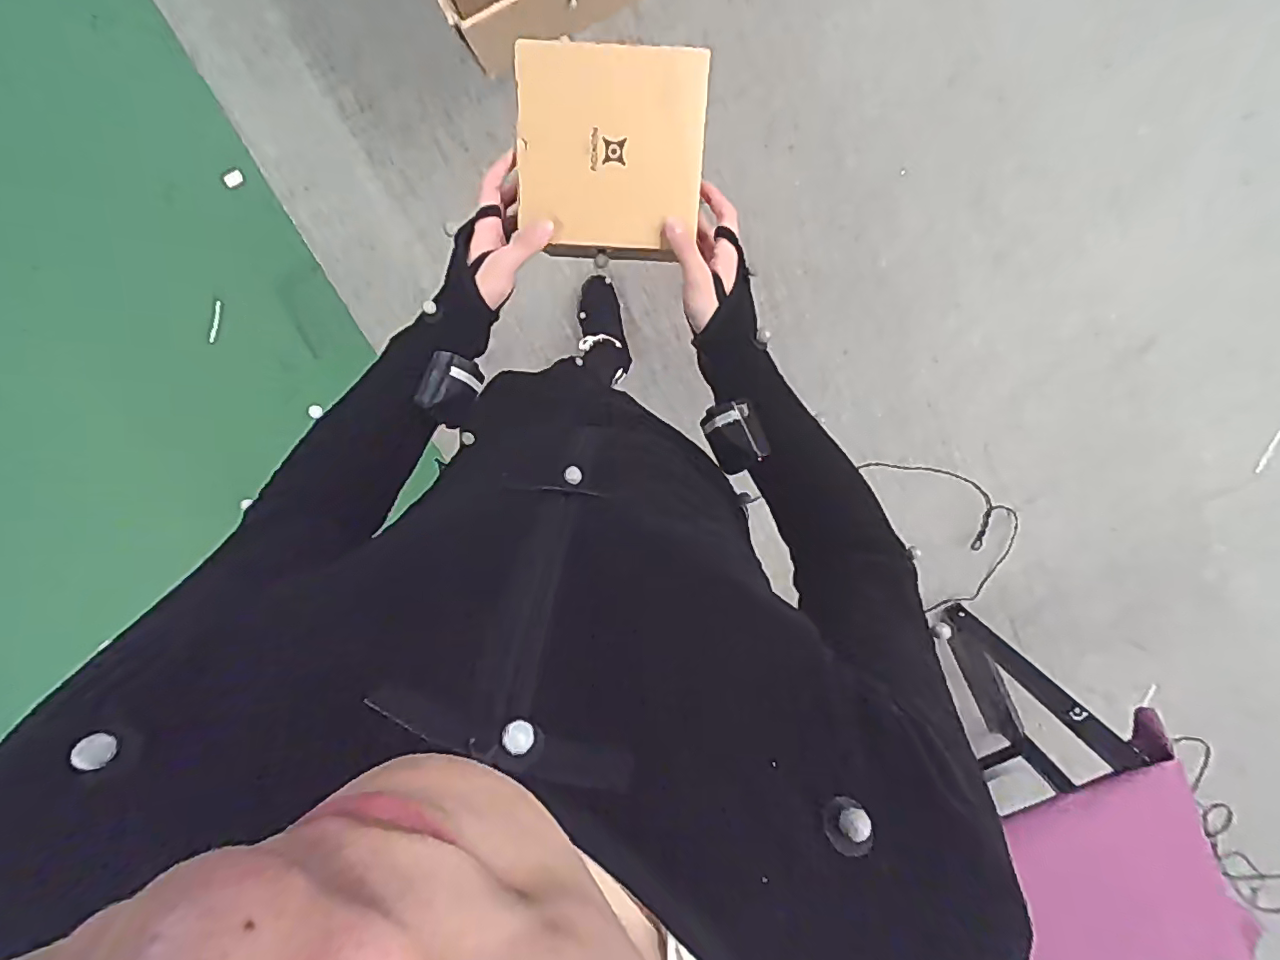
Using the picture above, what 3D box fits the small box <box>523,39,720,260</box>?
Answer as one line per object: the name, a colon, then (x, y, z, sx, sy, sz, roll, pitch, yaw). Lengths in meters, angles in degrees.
small box: (-0.019, -0.330, 0.574, 0.179, 0.176, 0.168, 4, 109, 1)
